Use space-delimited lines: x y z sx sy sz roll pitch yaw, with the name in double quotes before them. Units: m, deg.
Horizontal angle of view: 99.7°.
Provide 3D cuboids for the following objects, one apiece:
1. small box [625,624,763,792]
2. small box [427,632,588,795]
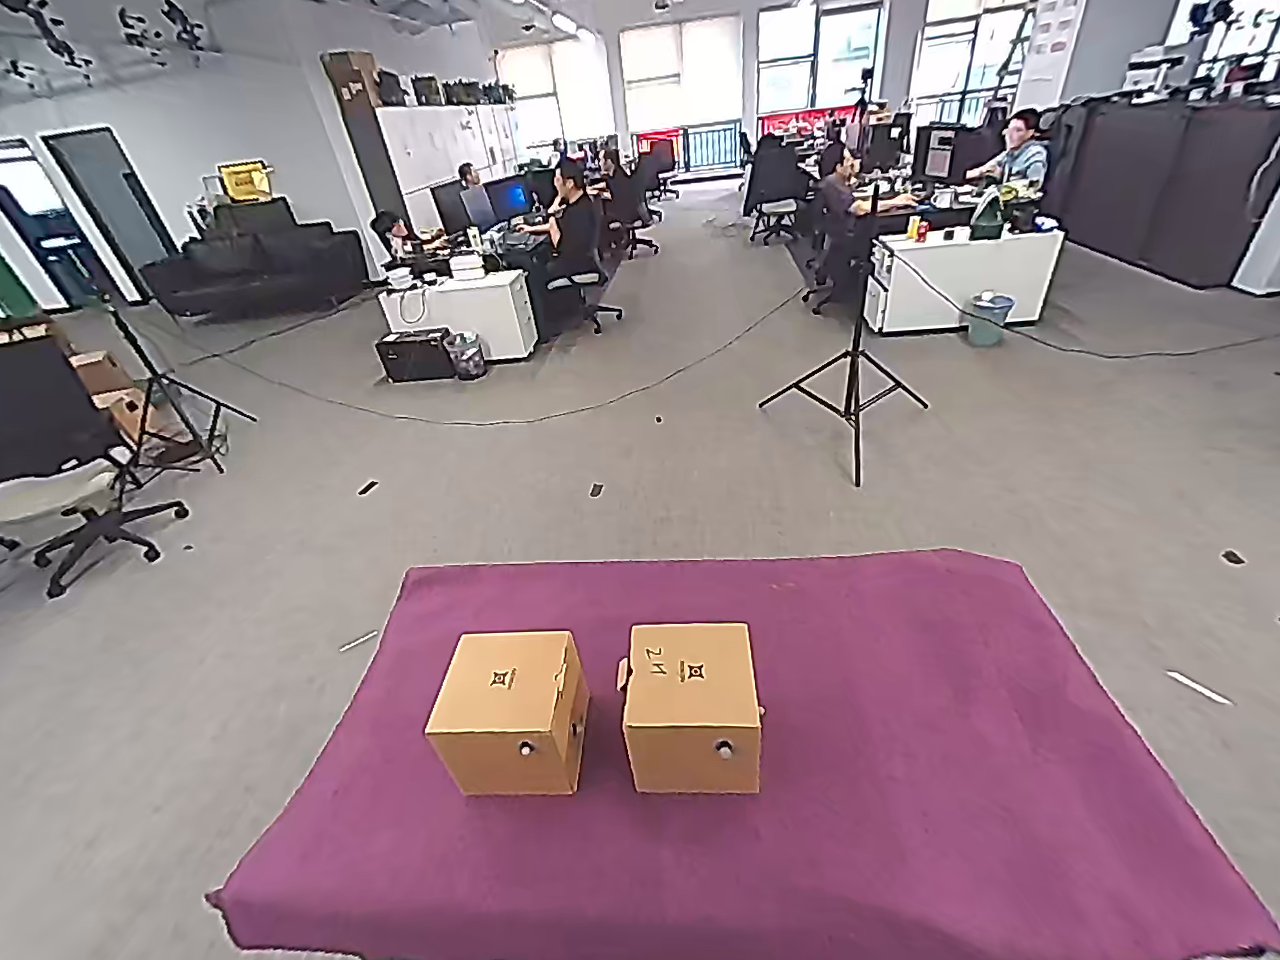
"small box" 0.080 0.331 0.788 0.179 0.176 0.168 -4 34 7
"small box" -0.185 0.351 0.814 0.179 0.176 0.168 -4 34 5
